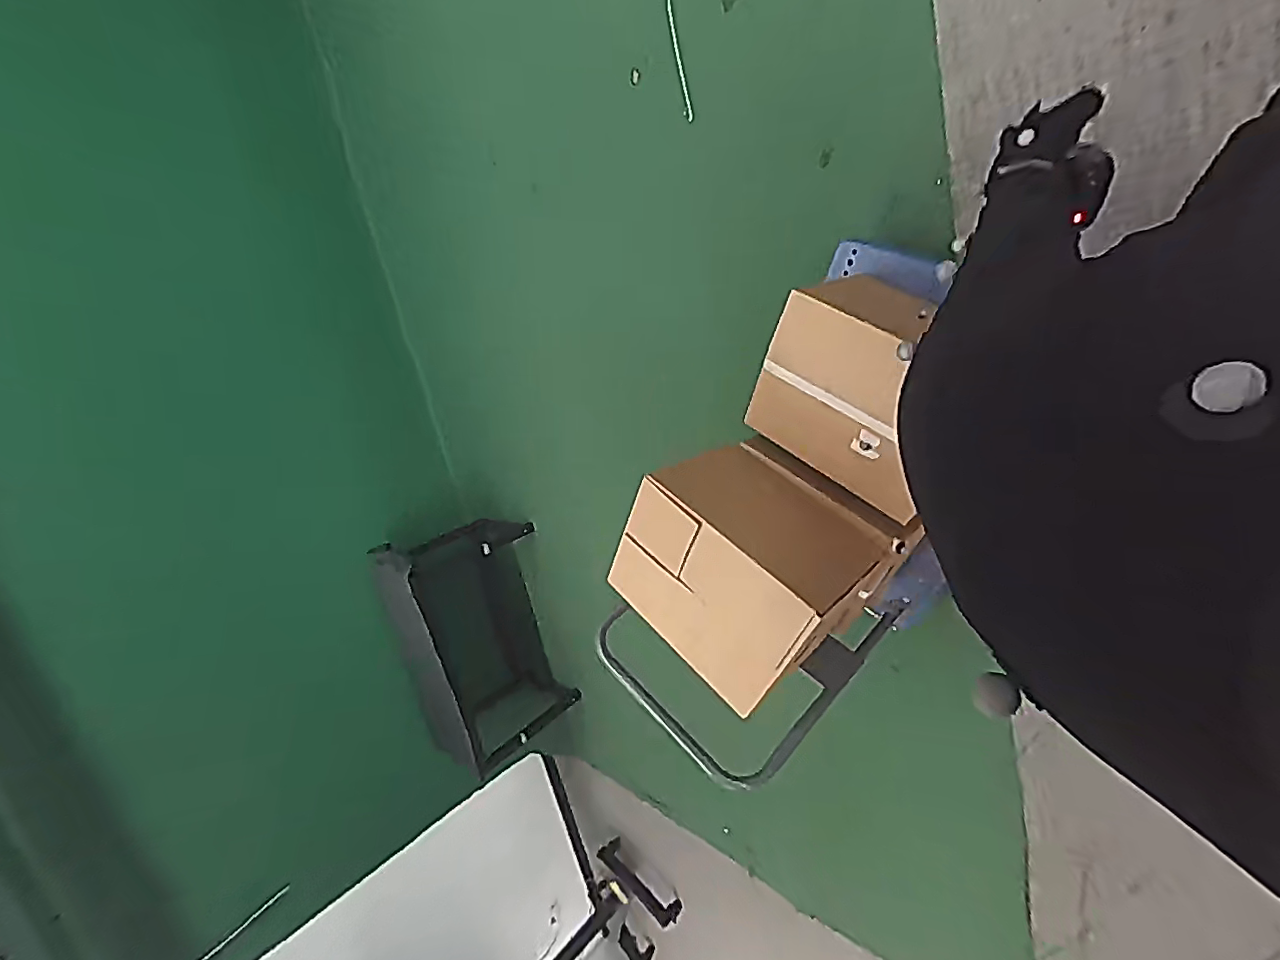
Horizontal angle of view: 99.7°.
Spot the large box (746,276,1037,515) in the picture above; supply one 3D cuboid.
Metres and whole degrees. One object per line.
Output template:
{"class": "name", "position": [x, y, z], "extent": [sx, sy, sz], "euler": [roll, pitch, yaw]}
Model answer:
{"class": "large box", "position": [0.505, -0.201, 1.133], "extent": [0.408, 0.320, 0.320], "euler": [38, 134, 28]}
